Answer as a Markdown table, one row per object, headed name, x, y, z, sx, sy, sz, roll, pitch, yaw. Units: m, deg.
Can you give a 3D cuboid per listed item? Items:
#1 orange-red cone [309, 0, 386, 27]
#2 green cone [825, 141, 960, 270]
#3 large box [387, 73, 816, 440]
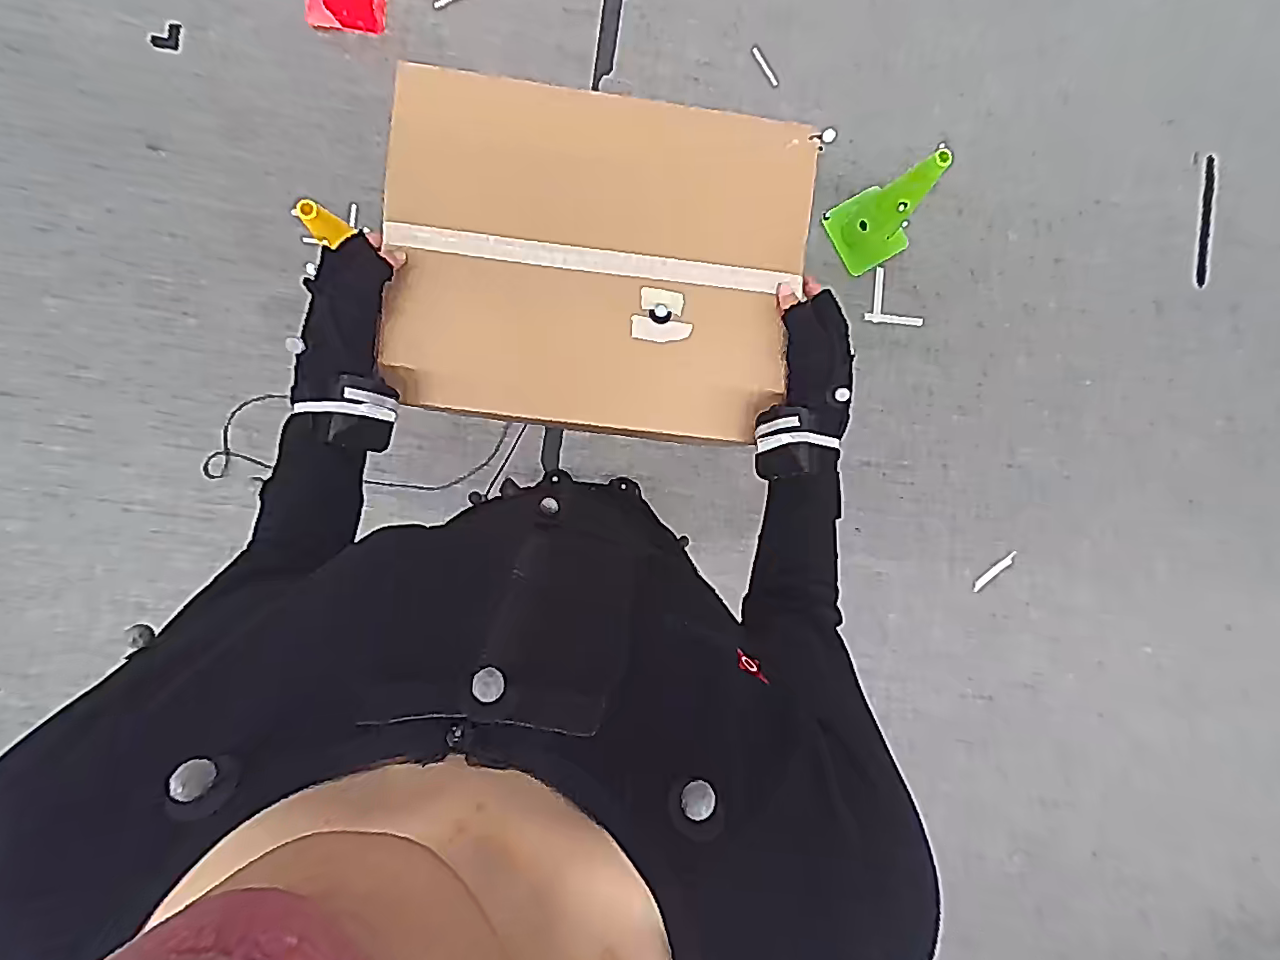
| name | x | y | z | sx | sy | sz | roll | pitch | yaw |
| --- | --- | --- | --- | --- | --- | --- | --- | --- | --- |
| orange-red cone | -0.758 | -1.296 | 1.254 | 0.198 | 0.360 | 0.199 | 4 | 91 | -3 |
| green cone | 0.663 | -0.718 | 1.360 | 0.202 | 0.368 | 0.200 | -31 | 93 | -5 |
| large box | -0.047 | -0.223 | 0.678 | 0.408 | 0.320 | 0.320 | 6 | 94 | -4 |
